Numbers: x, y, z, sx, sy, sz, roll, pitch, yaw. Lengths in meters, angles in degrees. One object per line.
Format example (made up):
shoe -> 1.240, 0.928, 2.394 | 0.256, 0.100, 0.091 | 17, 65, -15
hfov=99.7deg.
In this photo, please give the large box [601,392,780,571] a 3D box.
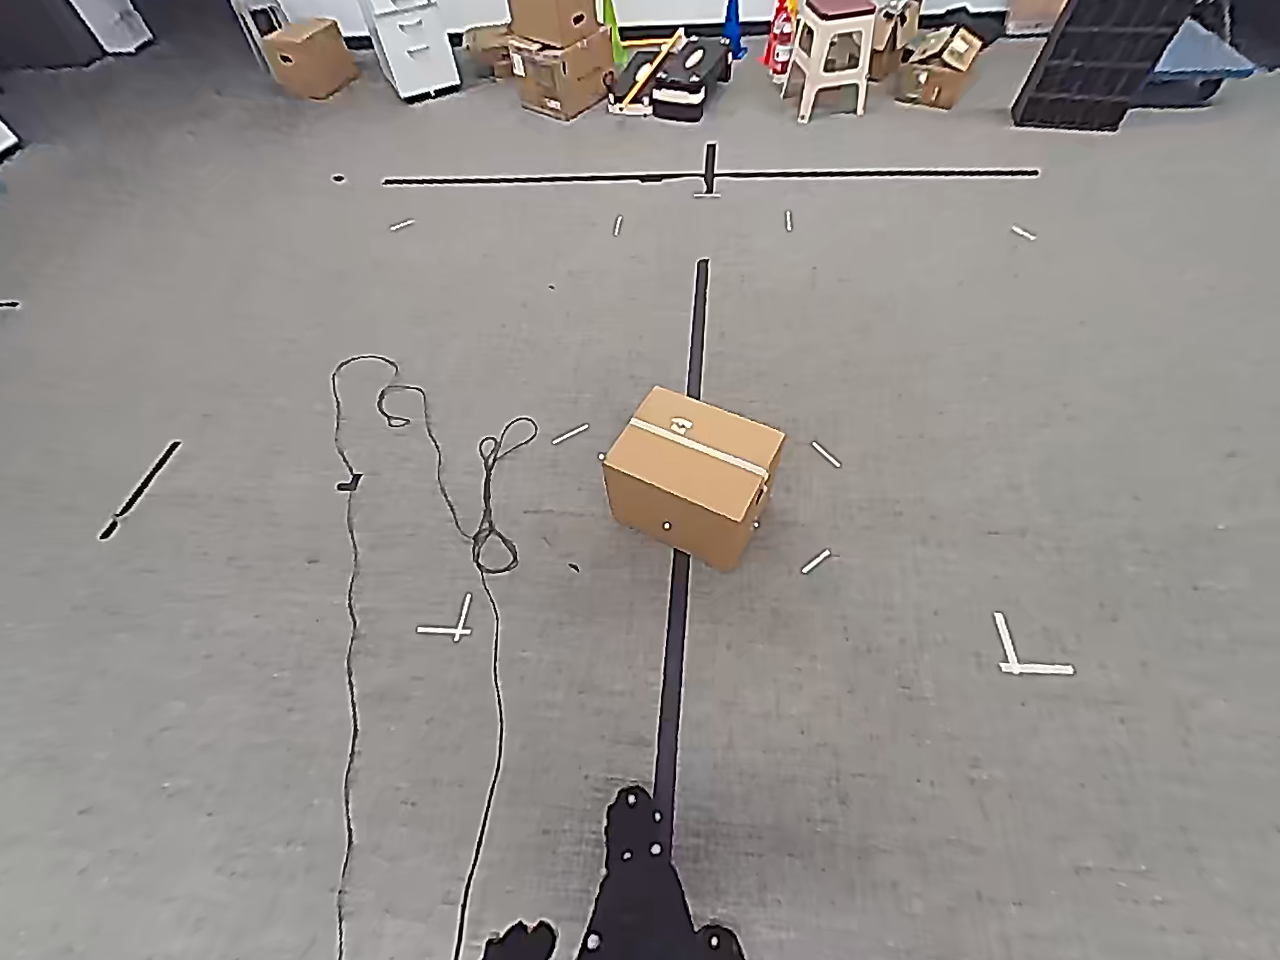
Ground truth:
large box -> 0.150, 0.006, 1.579 | 0.408, 0.320, 0.320 | 23, 60, 19
